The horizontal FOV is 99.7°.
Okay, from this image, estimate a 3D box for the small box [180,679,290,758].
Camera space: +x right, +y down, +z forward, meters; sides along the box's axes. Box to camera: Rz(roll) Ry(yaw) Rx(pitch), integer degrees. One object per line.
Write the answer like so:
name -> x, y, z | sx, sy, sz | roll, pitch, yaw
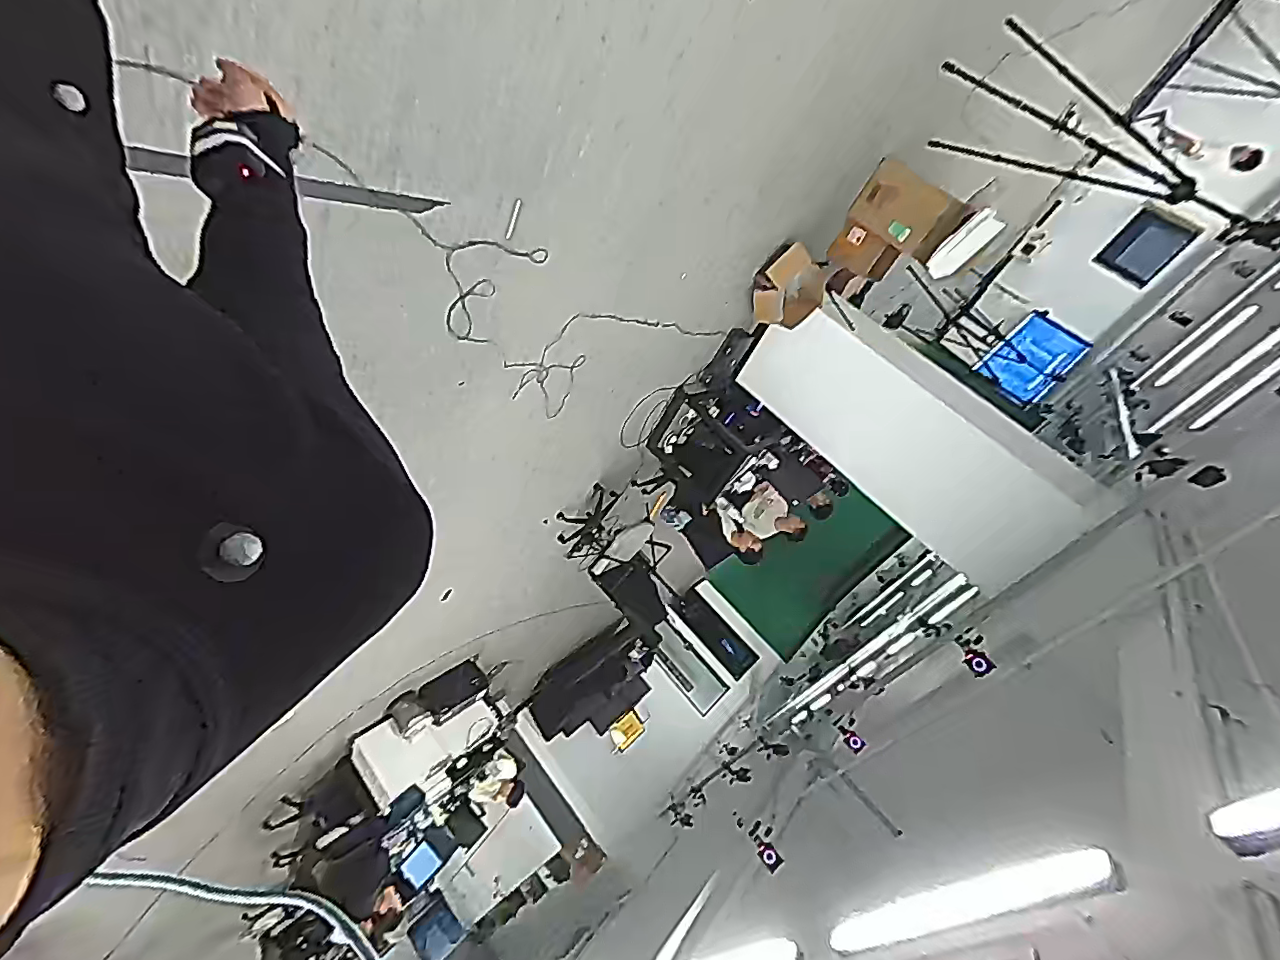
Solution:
small box -> -1.017, 0.551, 1.366 | 0.179, 0.176, 0.168 | -24, 152, -46
